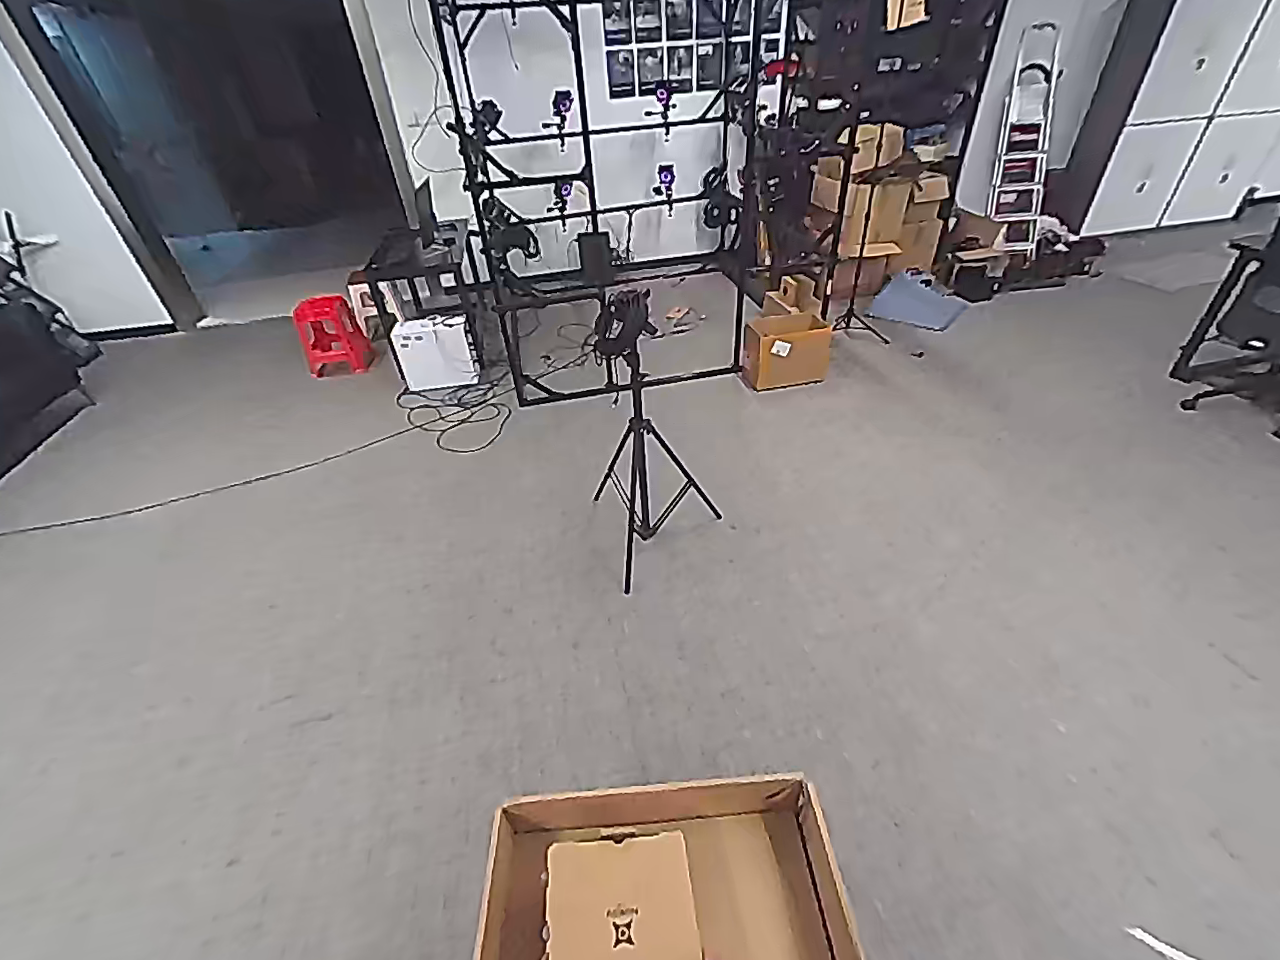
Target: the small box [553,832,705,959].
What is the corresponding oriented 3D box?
[{"bbox_3d":[-0.017,0.557,0.644,0.168,0.176,0.179,-2,36,-5],"label":"small box"}]
